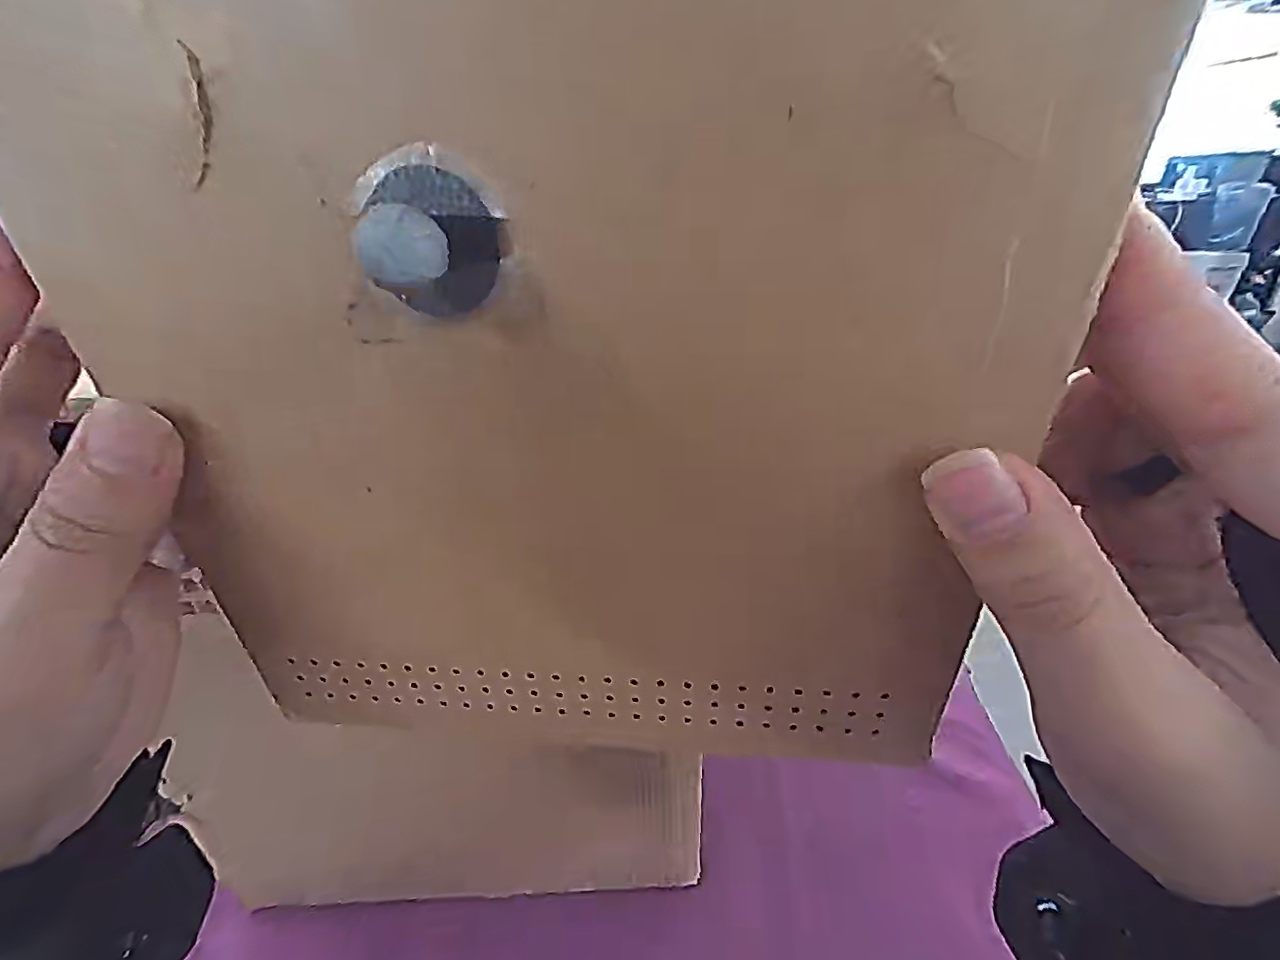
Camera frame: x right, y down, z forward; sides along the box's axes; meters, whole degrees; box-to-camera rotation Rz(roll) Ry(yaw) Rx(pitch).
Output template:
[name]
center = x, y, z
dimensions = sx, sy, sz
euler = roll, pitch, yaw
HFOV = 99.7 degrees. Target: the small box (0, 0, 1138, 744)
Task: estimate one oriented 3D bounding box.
[small box]
center = -0.007, -0.041, 0.175
dimensions = 0.179, 0.176, 0.168
euler = 1, 31, 6
